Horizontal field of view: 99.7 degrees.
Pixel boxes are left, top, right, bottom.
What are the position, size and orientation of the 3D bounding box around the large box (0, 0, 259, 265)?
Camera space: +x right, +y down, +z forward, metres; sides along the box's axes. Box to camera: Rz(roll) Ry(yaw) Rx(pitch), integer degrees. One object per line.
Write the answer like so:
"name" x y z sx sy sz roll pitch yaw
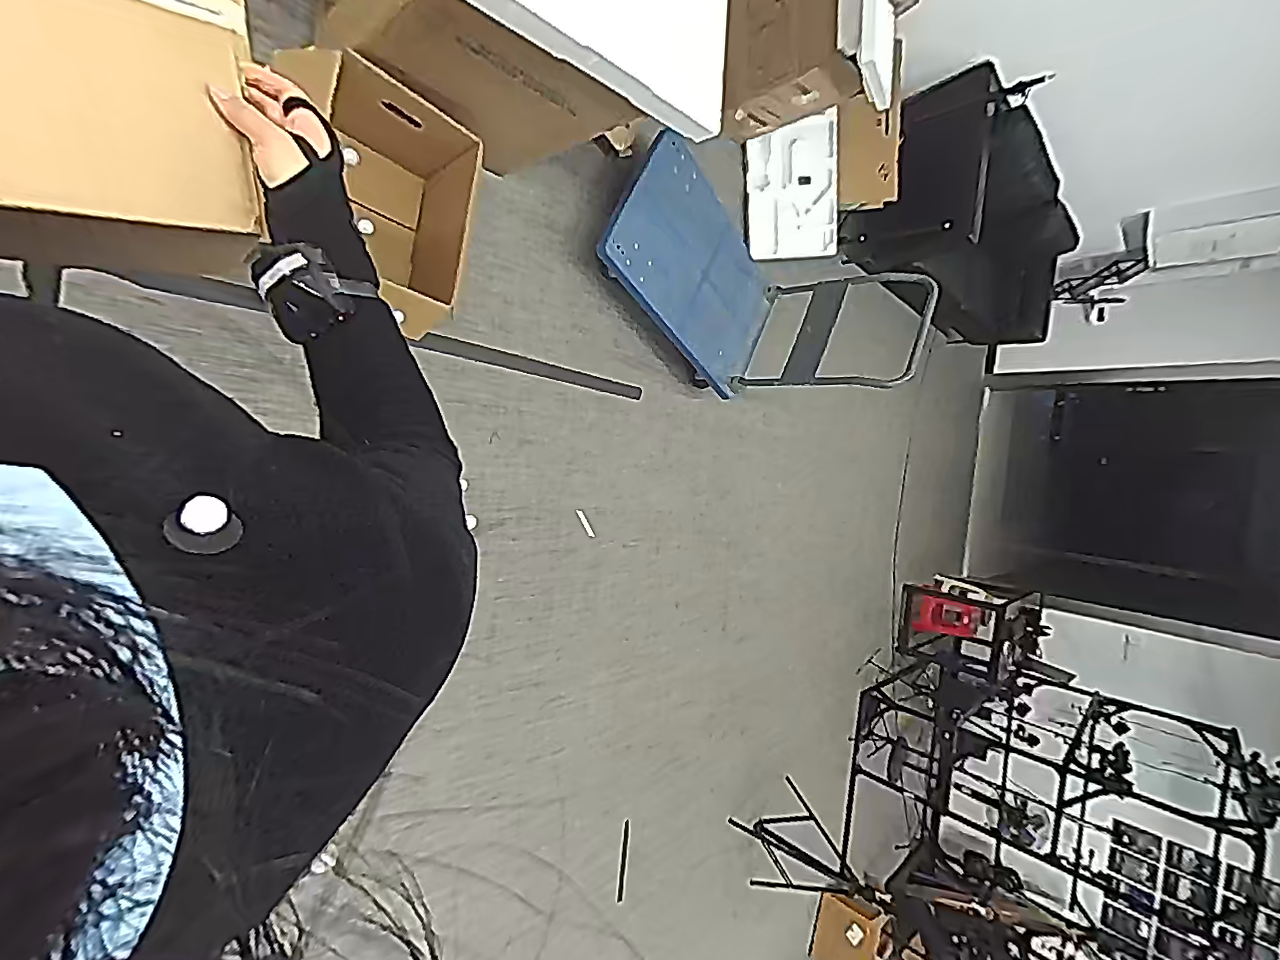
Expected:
"large box" -0.571 -0.357 0.412 0.408 0.320 0.320 -11 106 -39
